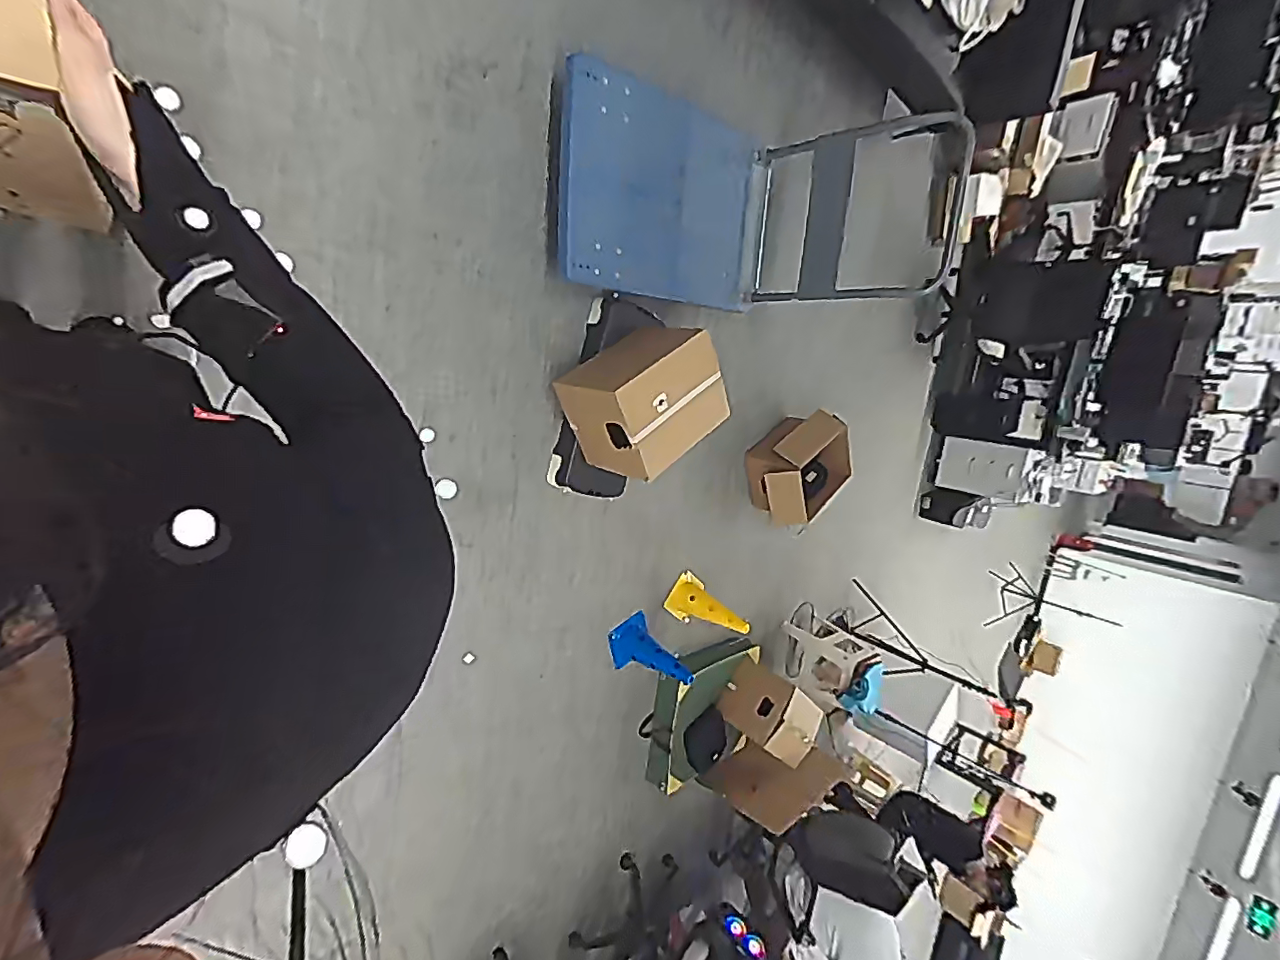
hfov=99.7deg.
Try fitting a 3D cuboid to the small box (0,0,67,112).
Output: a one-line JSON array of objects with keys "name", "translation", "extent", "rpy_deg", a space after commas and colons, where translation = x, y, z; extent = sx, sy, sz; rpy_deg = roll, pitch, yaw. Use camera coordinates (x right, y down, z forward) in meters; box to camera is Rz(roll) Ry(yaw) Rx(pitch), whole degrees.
[{"name": "small box", "translation": [-0.453, -0.332, 0.302], "extent": [0.168, 0.176, 0.179], "rpy_deg": [-8, 117, -43]}]

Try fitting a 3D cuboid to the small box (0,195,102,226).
[{"name": "small box", "translation": [-1.016, -0.545, 0.903], "extent": [0.168, 0.176, 0.179], "rpy_deg": [2, 101, -45]}]

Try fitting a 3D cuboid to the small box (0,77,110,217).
[{"name": "small box", "translation": [-0.903, -0.503, 0.790], "extent": [0.179, 0.176, 0.168], "rpy_deg": [2, 102, -45]}]
